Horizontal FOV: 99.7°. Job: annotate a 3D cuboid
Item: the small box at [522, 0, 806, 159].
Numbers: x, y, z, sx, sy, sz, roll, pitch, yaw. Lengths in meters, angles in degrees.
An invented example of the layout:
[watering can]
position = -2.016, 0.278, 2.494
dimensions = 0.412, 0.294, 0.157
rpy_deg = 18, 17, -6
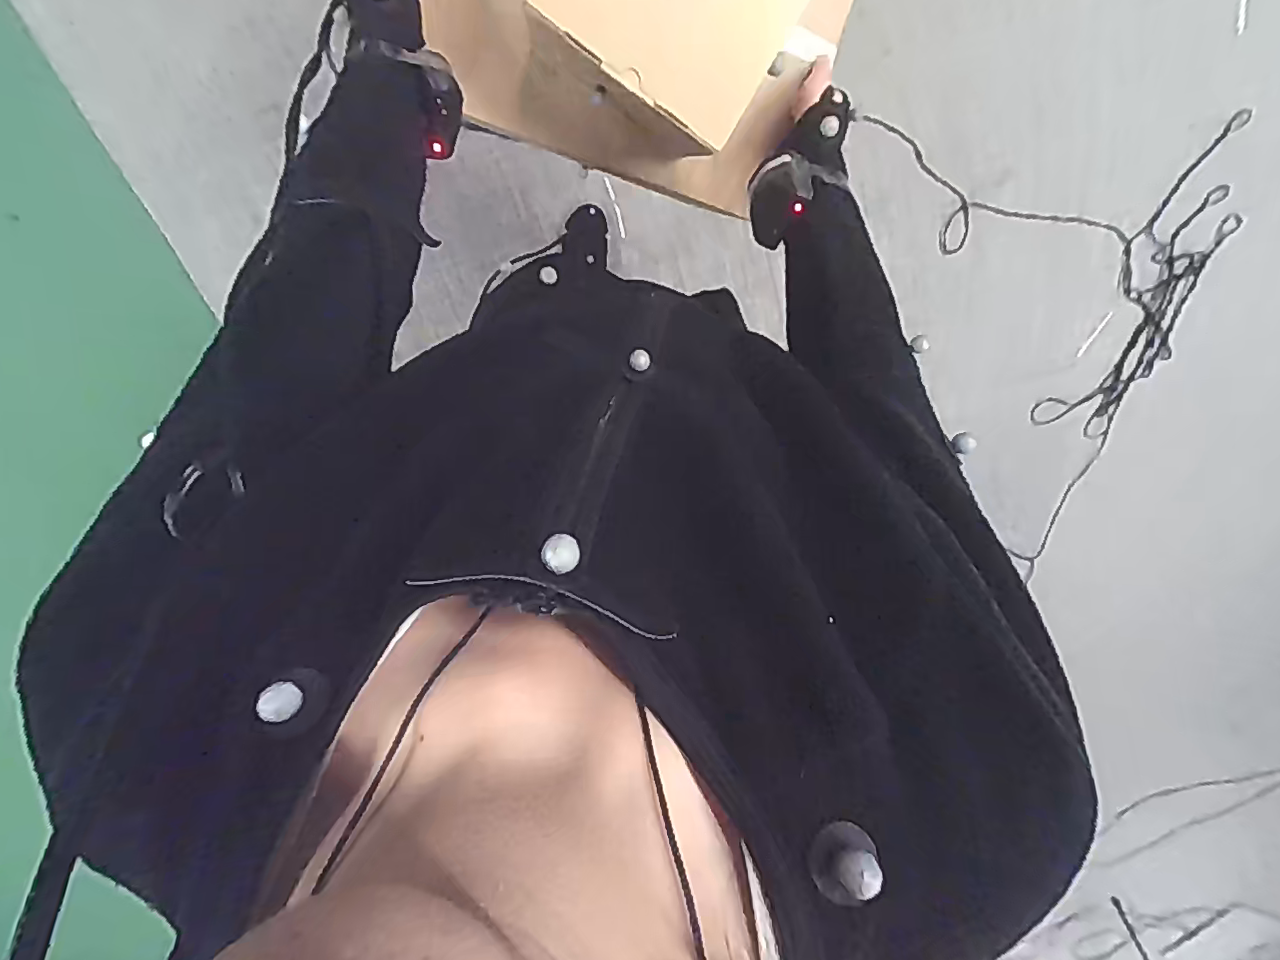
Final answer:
[small box]
position = 0.022, -0.381, 0.418
dimensions = 0.168, 0.176, 0.179
rpy_deg = 25, 114, -20

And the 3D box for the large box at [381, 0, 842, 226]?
[large box]
position = -0.027, -0.518, 0.617
dimensions = 0.408, 0.320, 0.320
rpy_deg = 12, 115, -13
